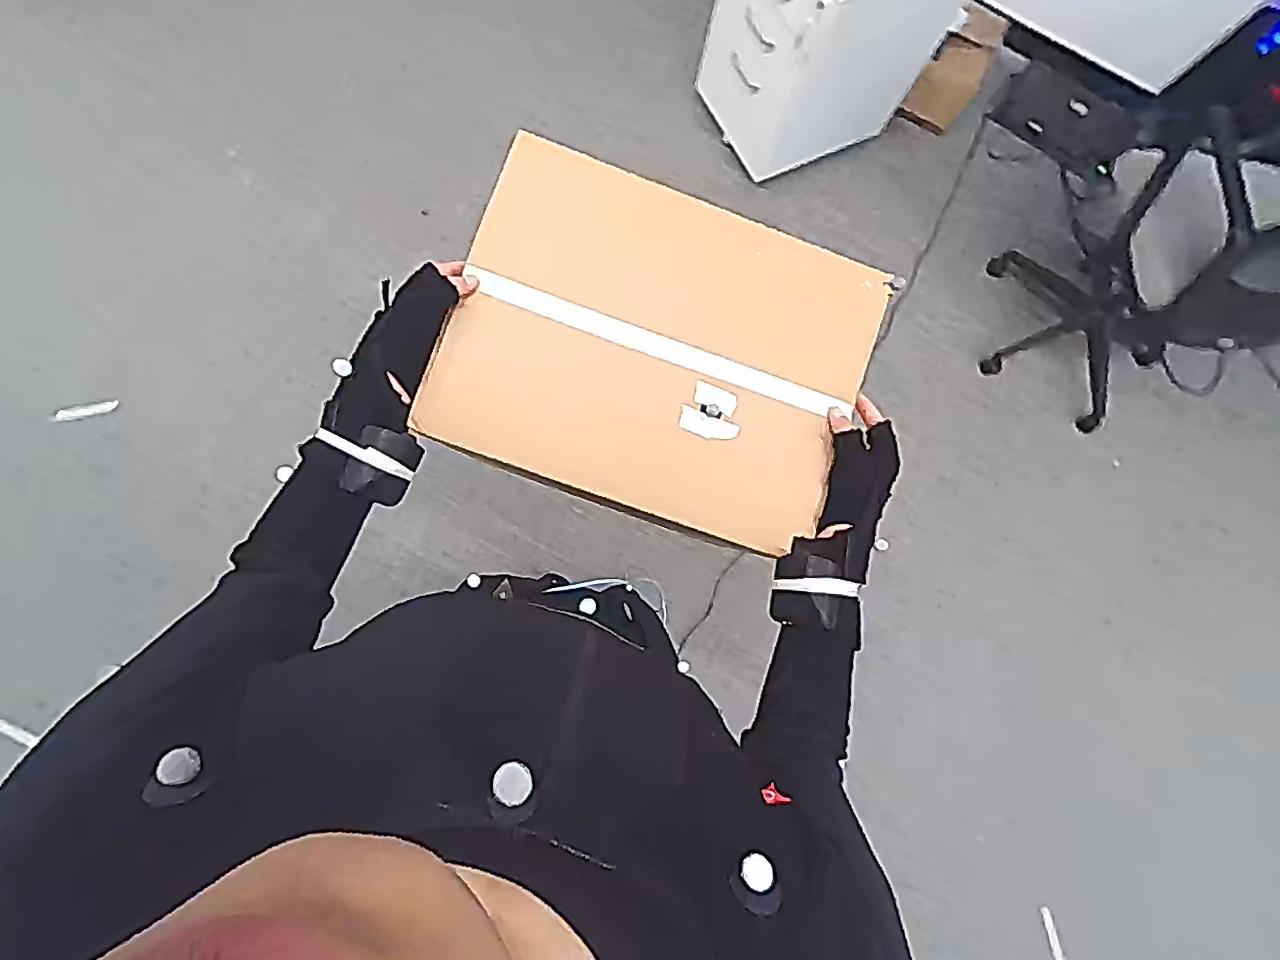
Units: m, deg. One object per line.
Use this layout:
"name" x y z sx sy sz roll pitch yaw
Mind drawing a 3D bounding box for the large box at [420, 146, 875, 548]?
"large box" 0.002 -0.124 0.692 0.408 0.320 0.320 19 86 -5
